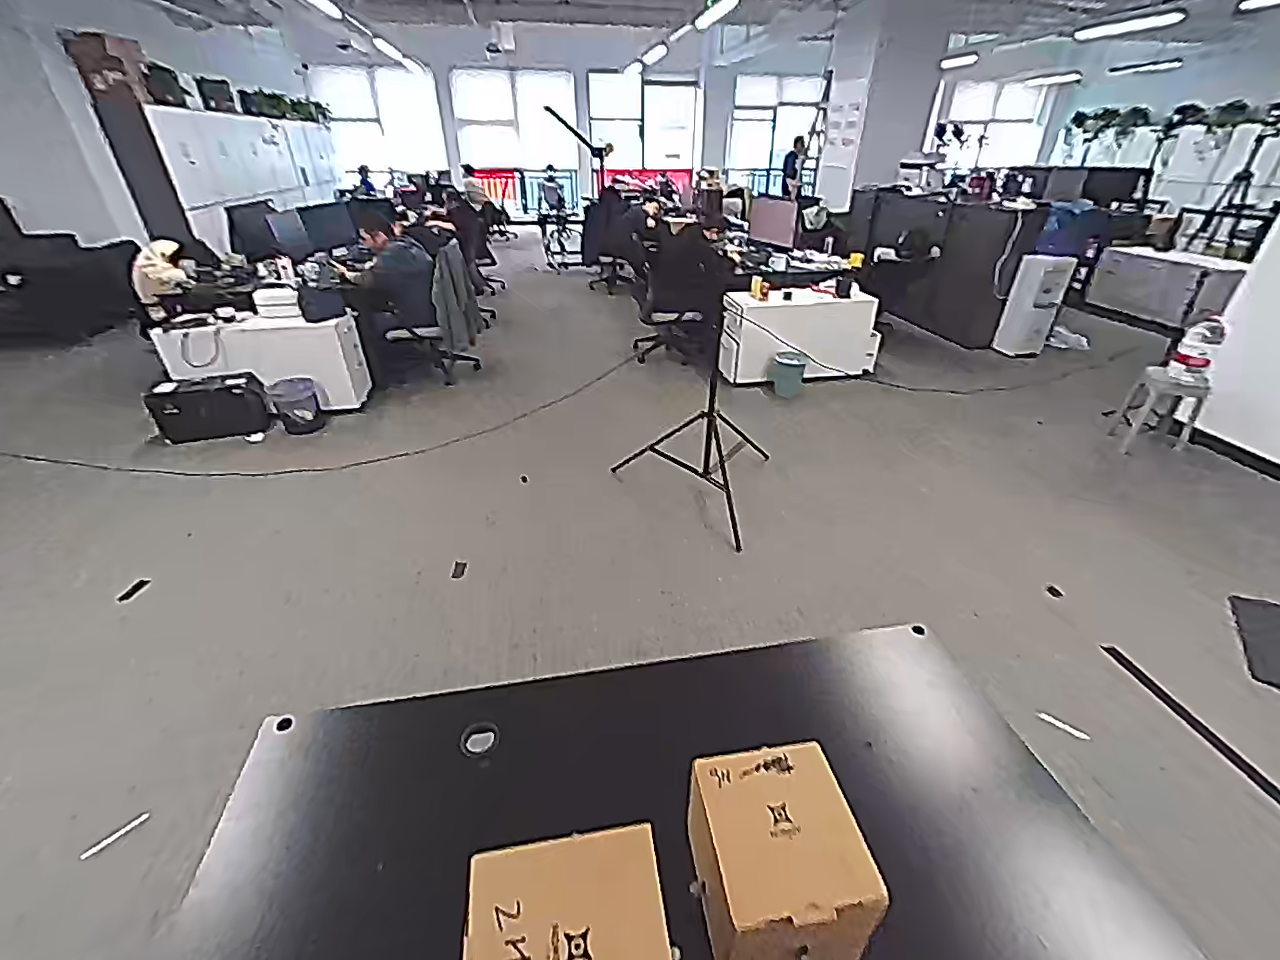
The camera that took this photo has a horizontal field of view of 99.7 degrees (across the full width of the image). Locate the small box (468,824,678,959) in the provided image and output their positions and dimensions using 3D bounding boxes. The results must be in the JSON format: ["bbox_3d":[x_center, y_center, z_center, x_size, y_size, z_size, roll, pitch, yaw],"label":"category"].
[{"bbox_3d":[-0.058,0.456,0.508,0.179,0.176,0.168,-6,39,-7],"label":"small box"}]

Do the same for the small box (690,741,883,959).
[{"bbox_3d":[0.159,0.453,0.652,0.168,0.176,0.179,-5,32,-7],"label":"small box"}]
